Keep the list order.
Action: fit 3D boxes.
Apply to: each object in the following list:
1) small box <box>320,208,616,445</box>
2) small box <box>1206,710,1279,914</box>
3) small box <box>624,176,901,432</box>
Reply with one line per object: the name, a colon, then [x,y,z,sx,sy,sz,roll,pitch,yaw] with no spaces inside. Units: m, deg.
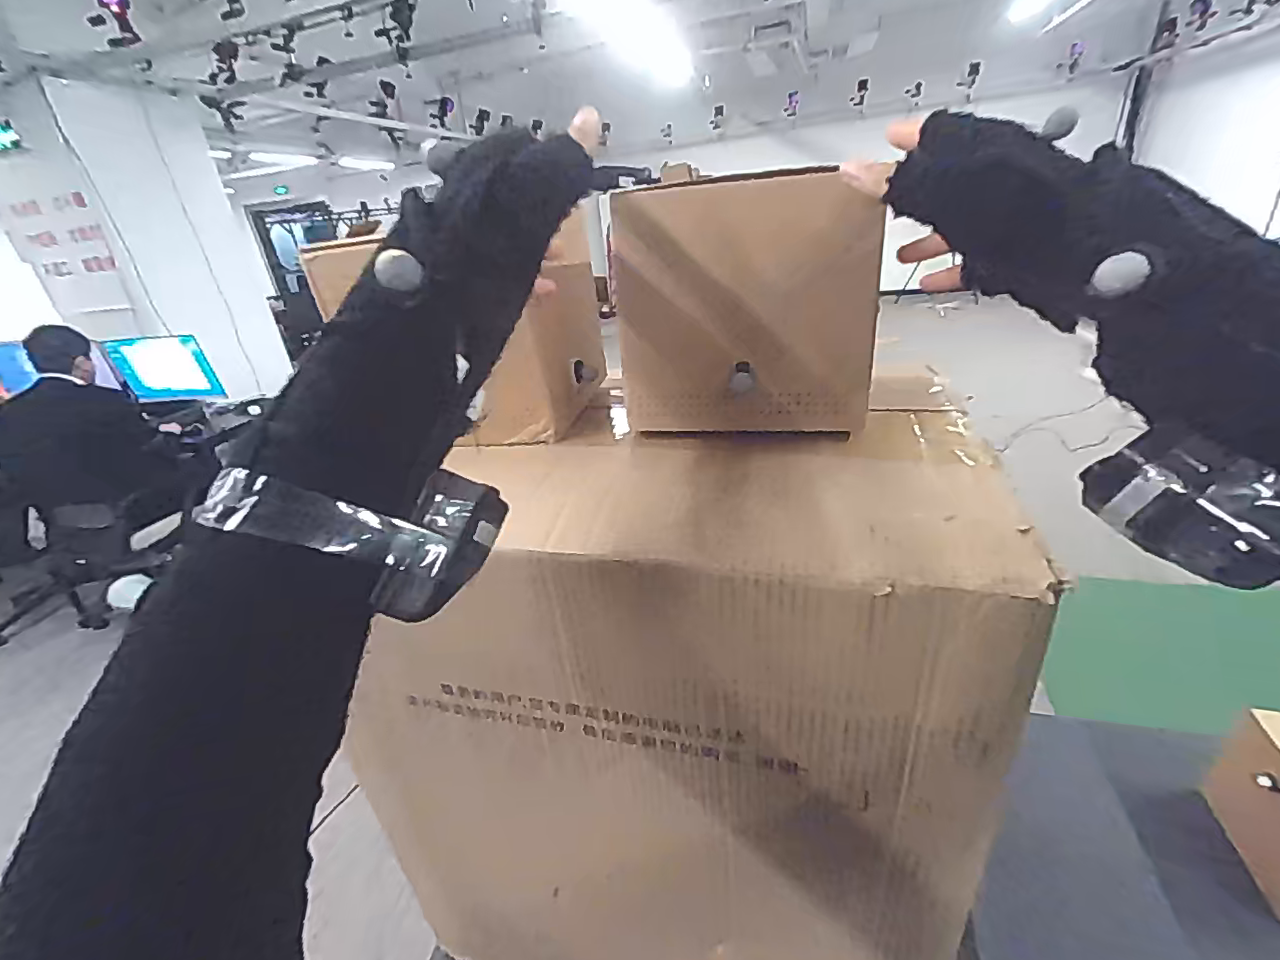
small box: [-0.132,-0.139,0.487,0.179,0.176,0.168,1,30,13]
small box: [0.831,0.409,0.630,0.168,0.176,0.179,3,28,18]
small box: [0.094,-0.141,0.446,0.179,0.176,0.168,2,22,12]
